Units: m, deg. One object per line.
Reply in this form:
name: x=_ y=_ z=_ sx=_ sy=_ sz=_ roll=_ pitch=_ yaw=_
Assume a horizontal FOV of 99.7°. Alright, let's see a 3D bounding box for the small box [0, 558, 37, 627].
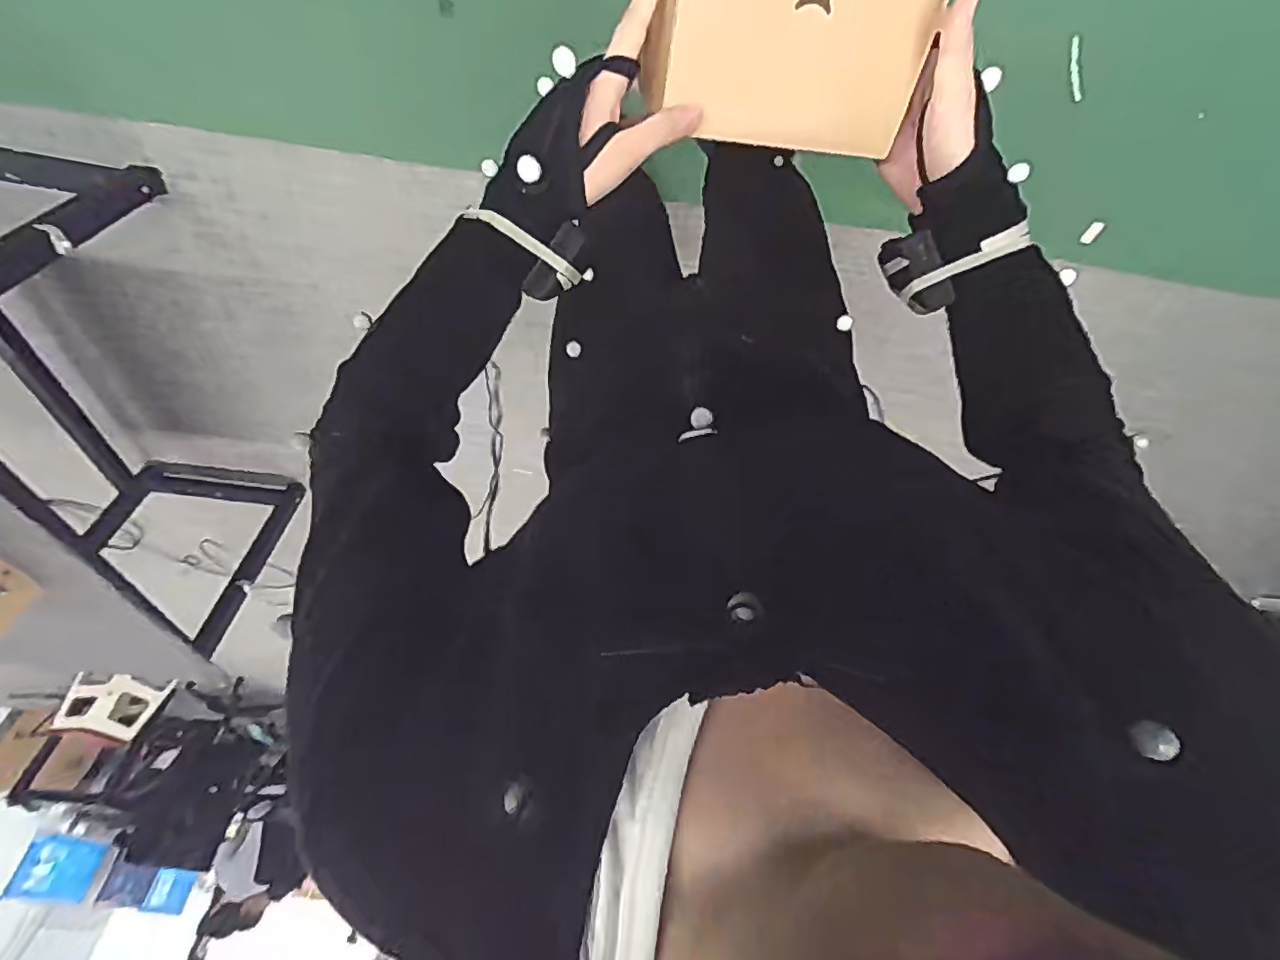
small box: x=-1.425 y=0.242 z=1.097 sx=0.179 sy=0.176 sz=0.168 roll=8 pitch=139 yaw=-4
